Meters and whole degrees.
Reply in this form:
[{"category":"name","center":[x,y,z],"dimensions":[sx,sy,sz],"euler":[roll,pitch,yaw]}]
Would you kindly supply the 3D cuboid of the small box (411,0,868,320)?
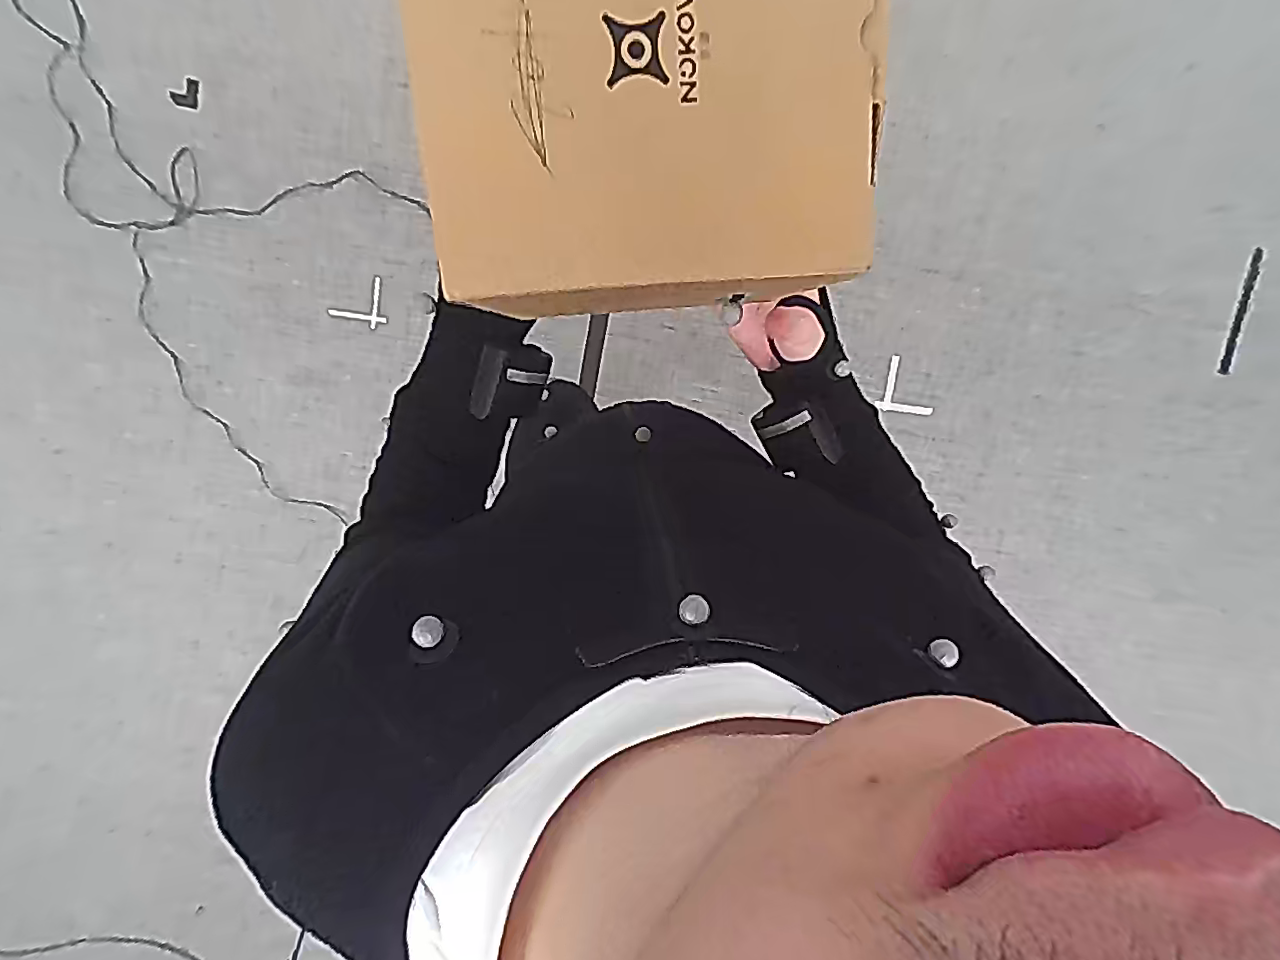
[{"category":"small box","center":[0.000,-0.179,0.287],"dimensions":[0.179,0.176,0.168],"euler":[-5,104,0]}]
